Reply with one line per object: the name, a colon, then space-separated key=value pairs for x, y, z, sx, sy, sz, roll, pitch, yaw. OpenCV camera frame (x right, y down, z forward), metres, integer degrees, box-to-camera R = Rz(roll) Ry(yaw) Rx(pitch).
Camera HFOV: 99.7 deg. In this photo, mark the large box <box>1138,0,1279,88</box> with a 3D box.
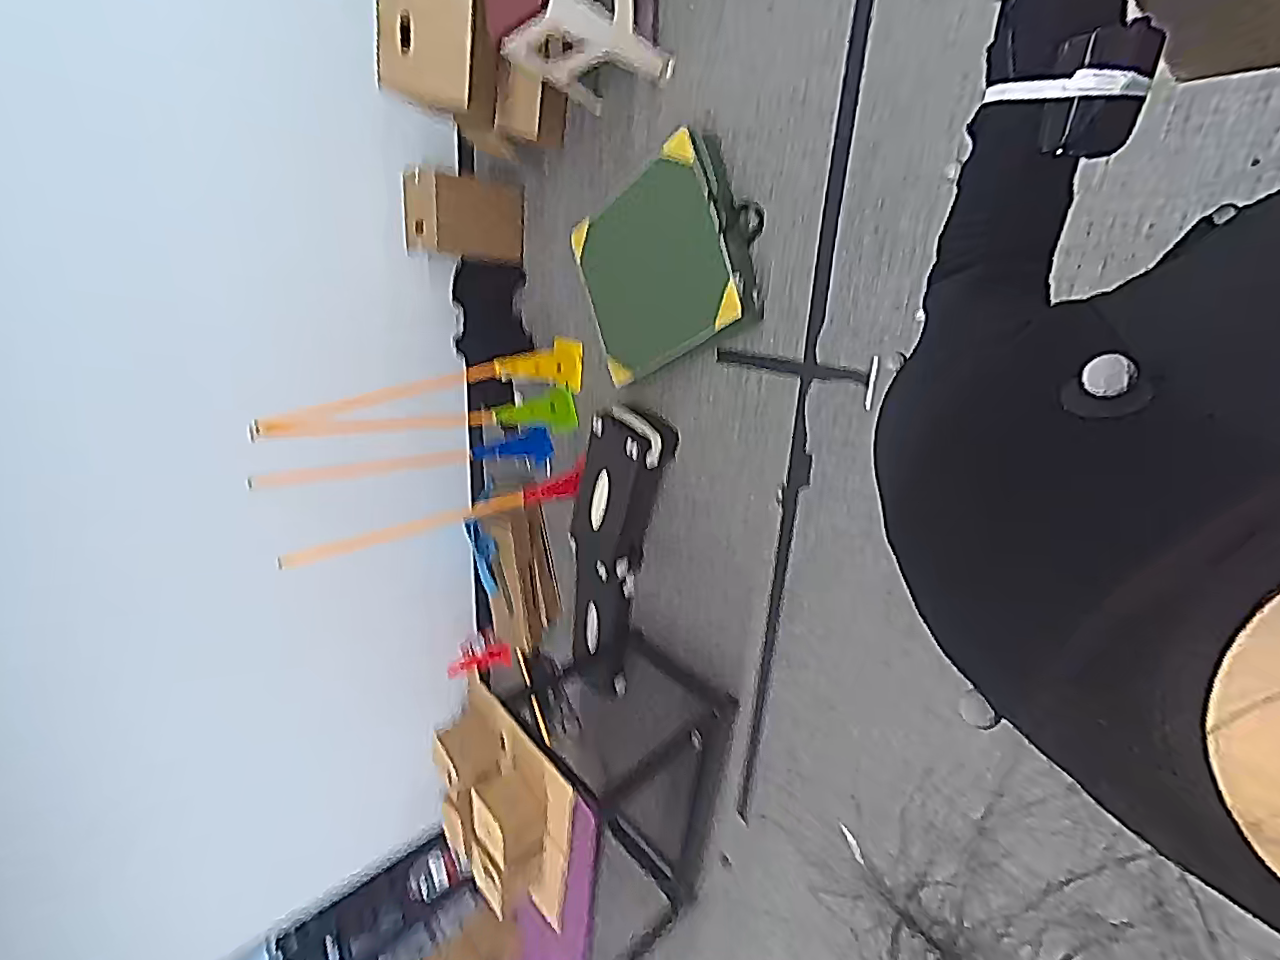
large box: x=0.524 y=-0.427 z=0.229 sx=0.408 sy=0.320 sz=0.320 roll=19 pitch=120 yaw=43
